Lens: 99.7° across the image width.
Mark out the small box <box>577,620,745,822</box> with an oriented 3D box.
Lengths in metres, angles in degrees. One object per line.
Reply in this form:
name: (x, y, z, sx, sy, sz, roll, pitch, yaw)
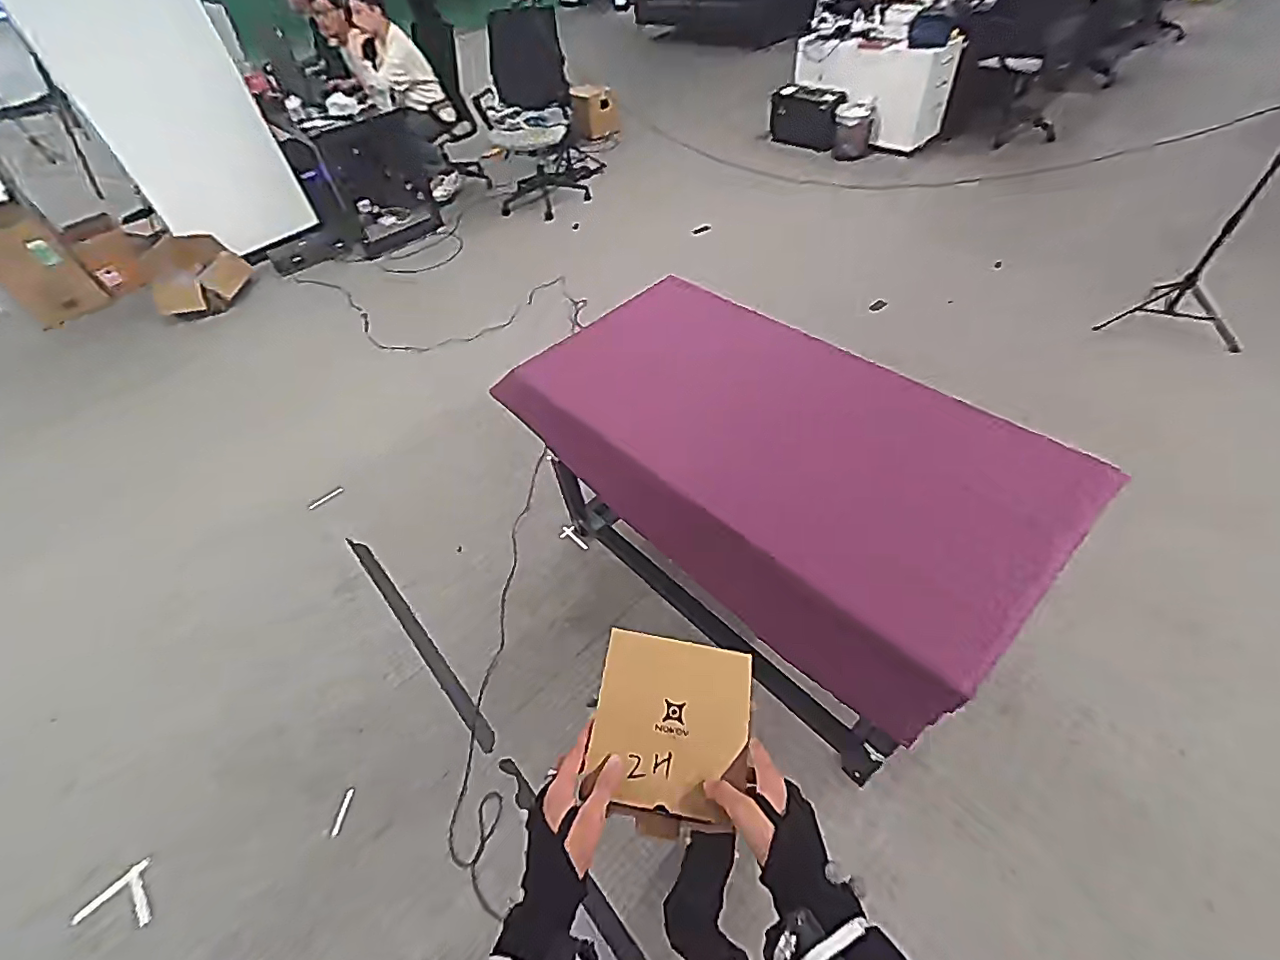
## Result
small box: (0.022, 0.294, 0.651, 0.168, 0.176, 0.179, 11, 56, 2)
